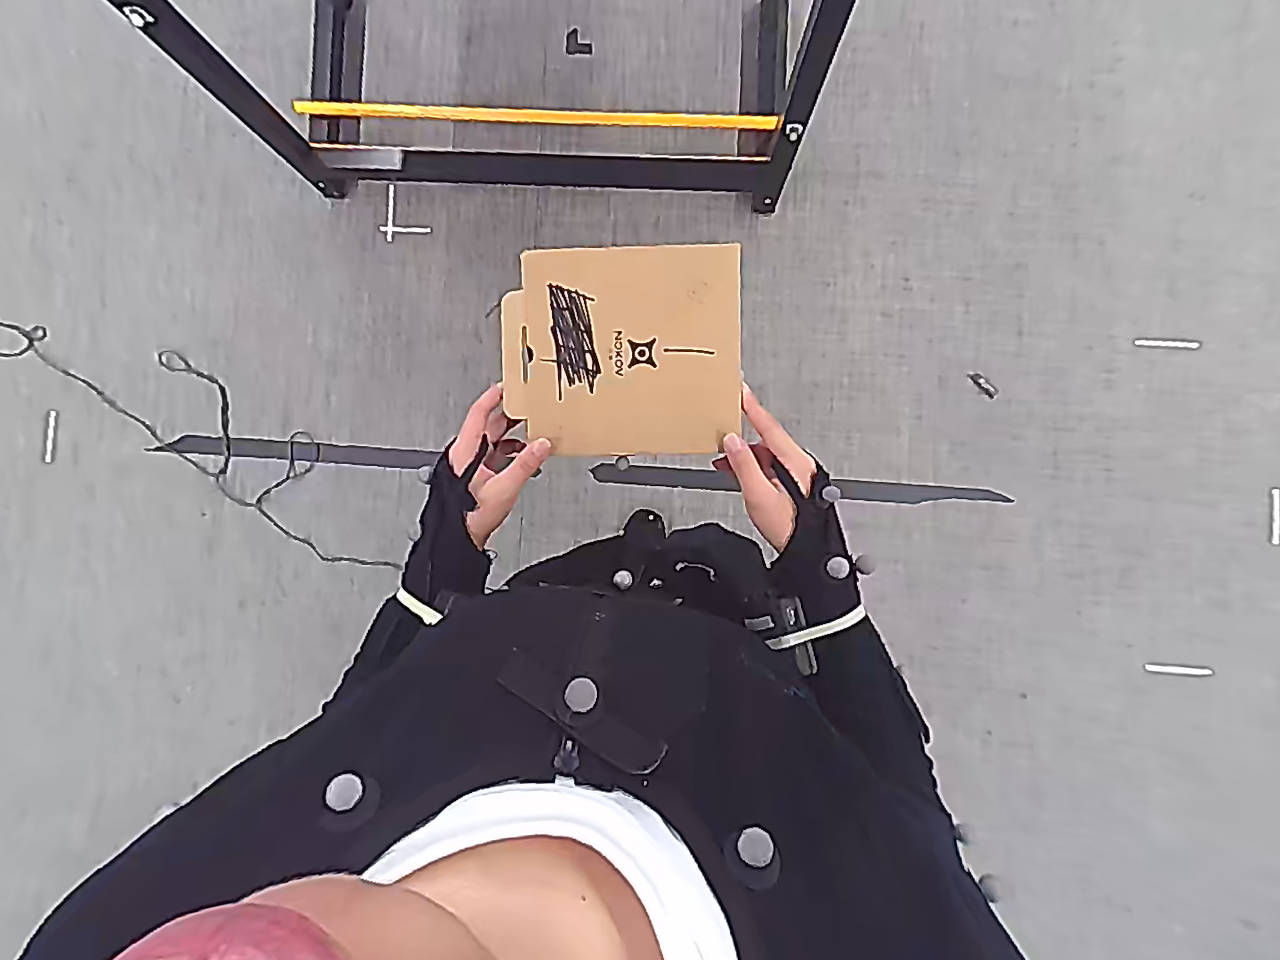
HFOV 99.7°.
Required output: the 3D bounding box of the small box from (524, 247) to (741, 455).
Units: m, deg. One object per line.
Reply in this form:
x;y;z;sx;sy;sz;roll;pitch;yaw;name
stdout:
-0.003;-0.107;0.514;0.179;0.176;0.168;-1;94;2;small box
